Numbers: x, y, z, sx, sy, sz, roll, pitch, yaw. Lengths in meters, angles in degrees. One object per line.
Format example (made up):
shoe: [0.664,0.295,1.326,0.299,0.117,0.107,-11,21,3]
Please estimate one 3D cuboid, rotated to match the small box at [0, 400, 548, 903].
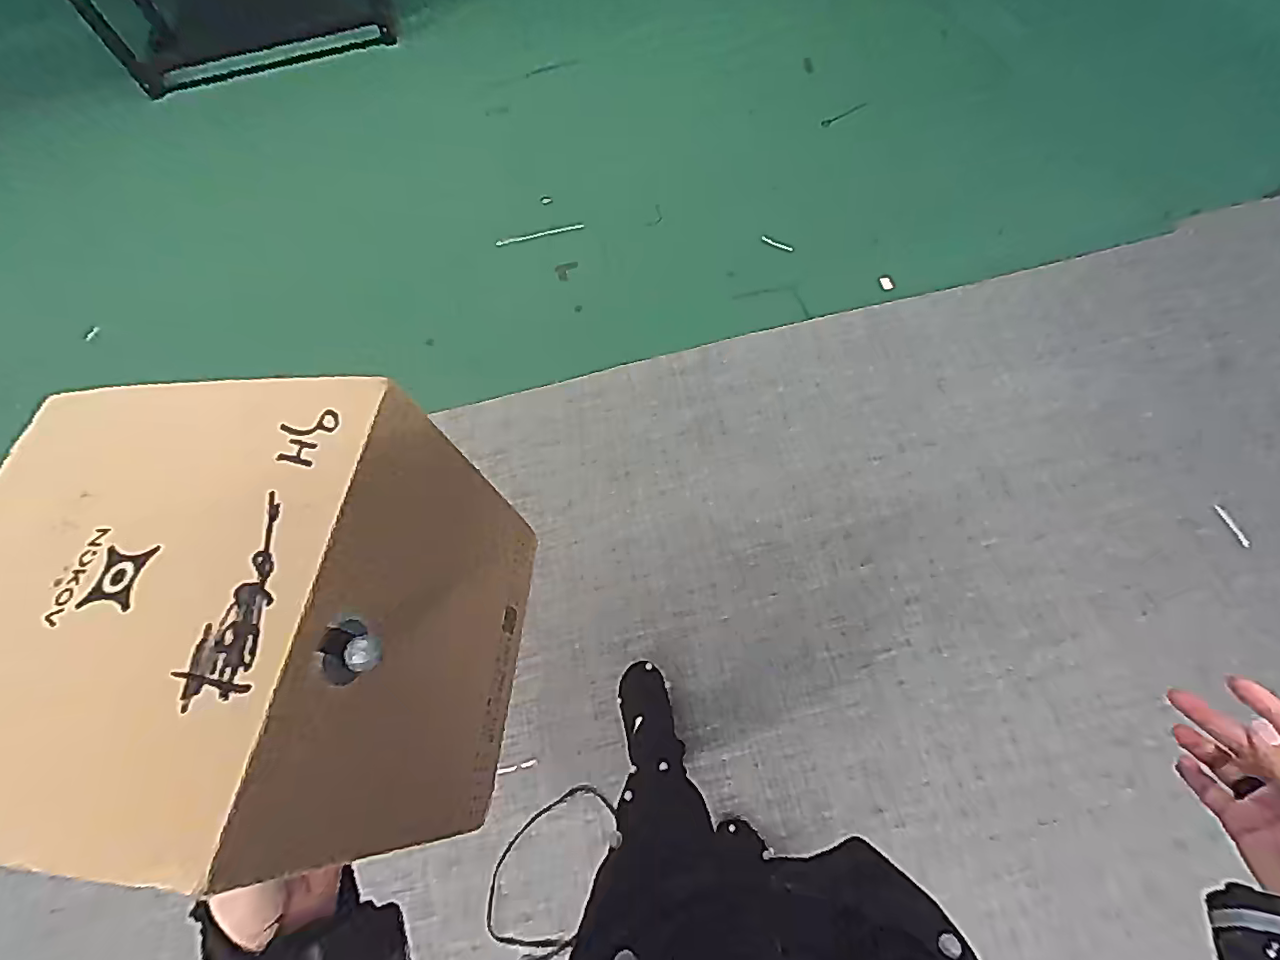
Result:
small box: [-0.165,0.079,0.267,0.179,0.176,0.168,-1,63,12]
